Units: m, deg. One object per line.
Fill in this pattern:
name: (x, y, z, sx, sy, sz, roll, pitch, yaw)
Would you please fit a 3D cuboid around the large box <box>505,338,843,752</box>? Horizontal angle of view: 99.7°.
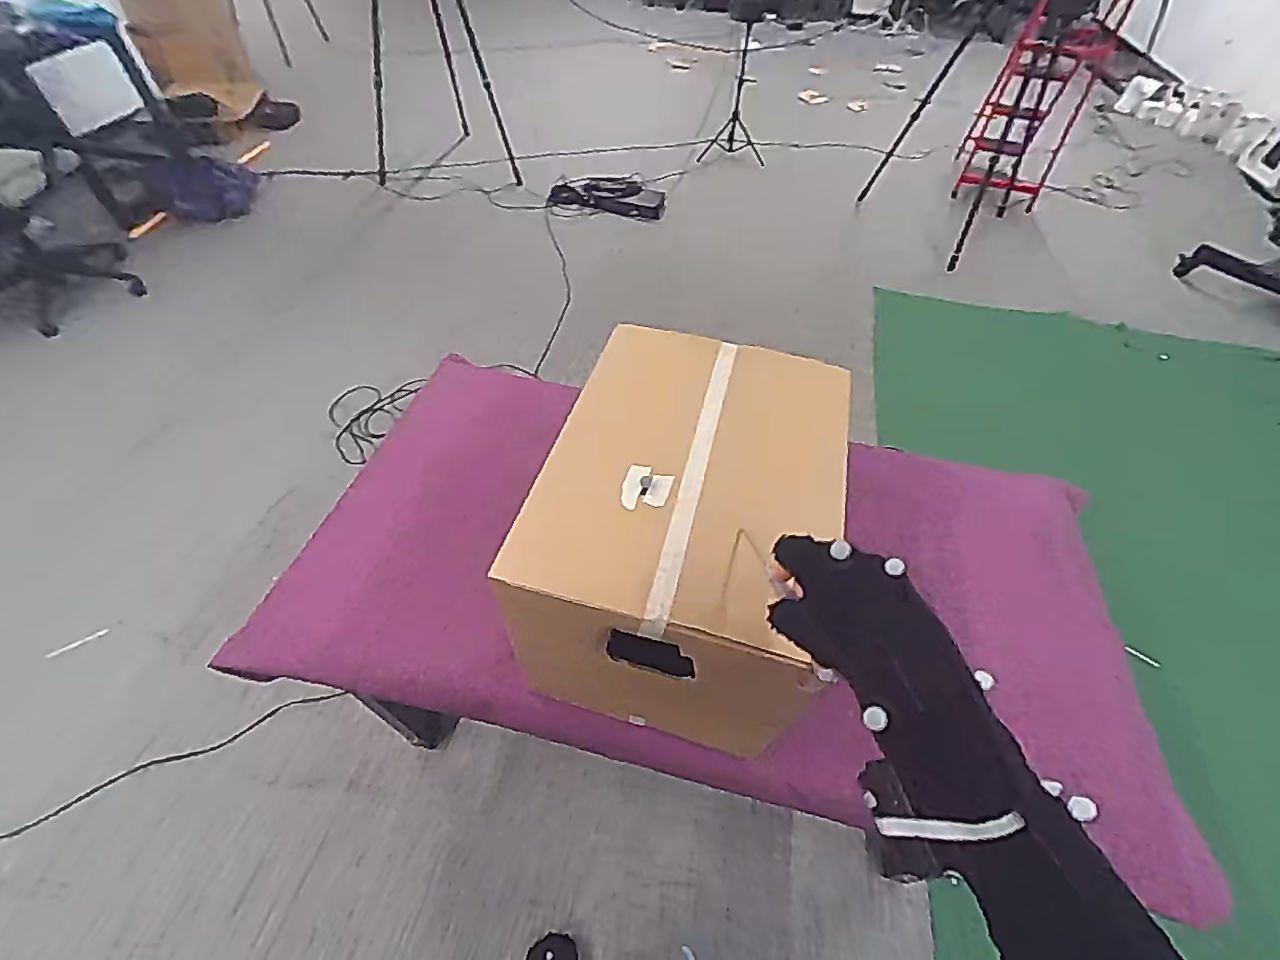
large box: (0.059, 0.079, 0.721, 0.320, 0.320, 0.408, 14, 52, 8)
